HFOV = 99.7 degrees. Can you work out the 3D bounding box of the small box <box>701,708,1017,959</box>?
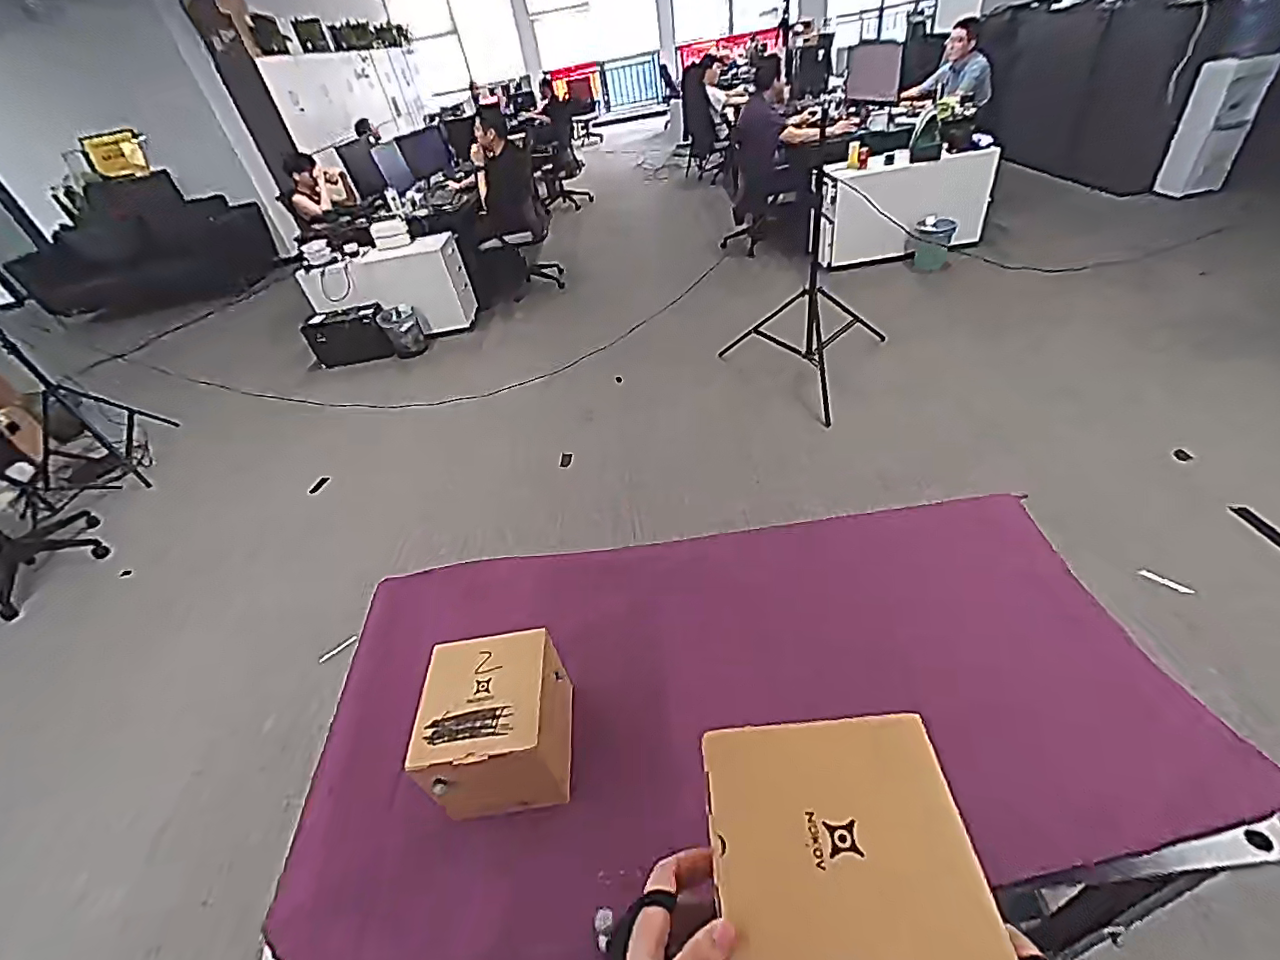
[{"bbox_3d":[0.150,0.306,0.431,0.179,0.176,0.168,-9,40,6],"label":"small box"}]
